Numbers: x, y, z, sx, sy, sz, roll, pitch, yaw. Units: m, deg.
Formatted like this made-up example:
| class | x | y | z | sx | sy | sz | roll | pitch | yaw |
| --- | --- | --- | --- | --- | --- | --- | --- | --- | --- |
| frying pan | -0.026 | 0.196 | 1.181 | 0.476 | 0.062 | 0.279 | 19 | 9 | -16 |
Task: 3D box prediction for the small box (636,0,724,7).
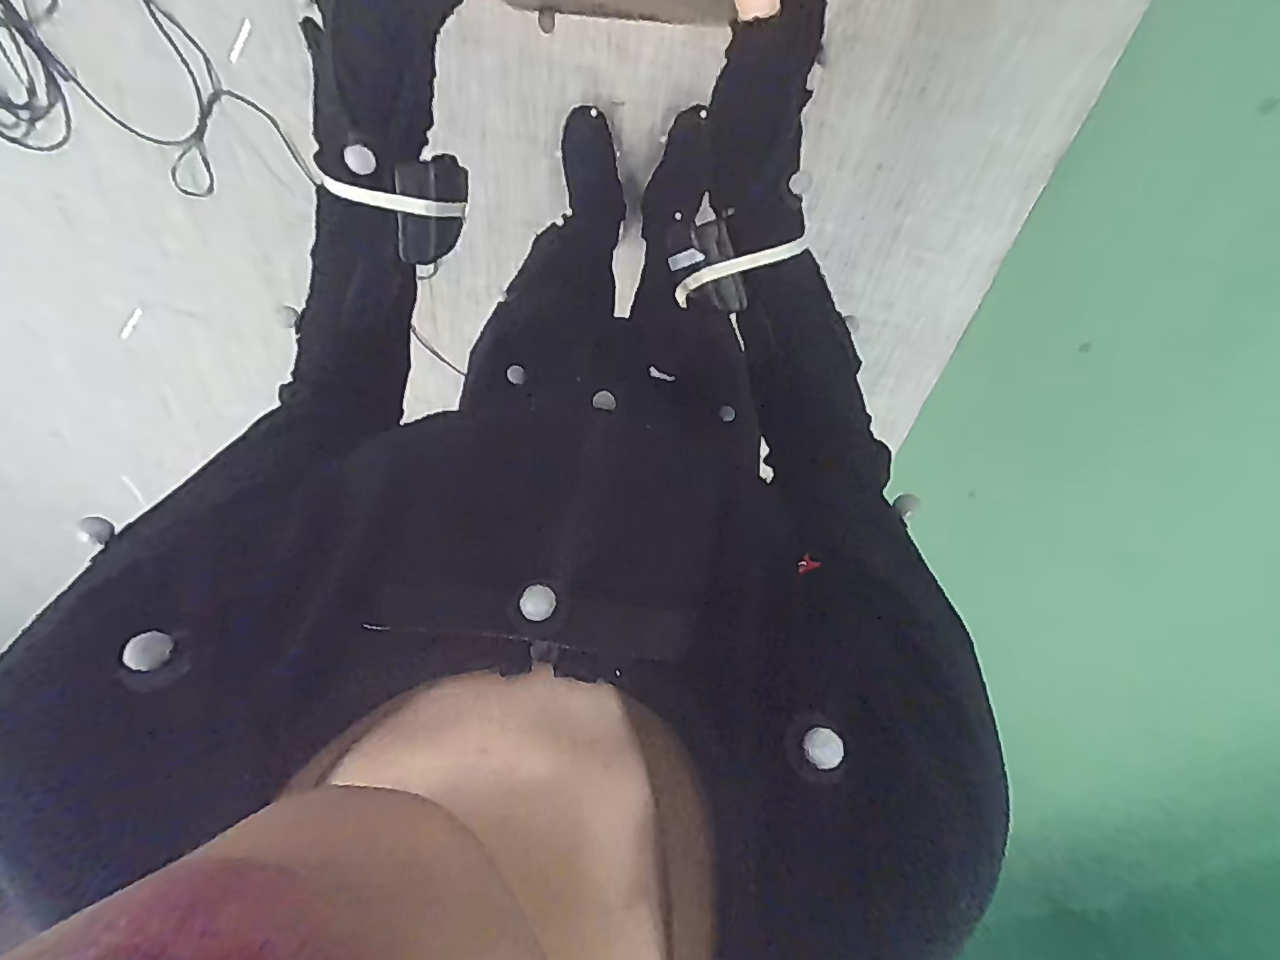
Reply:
| class | x | y | z | sx | sy | sz | roll | pitch | yaw |
| --- | --- | --- | --- | --- | --- | --- | --- | --- | --- |
| small box | -0.016 | -0.376 | 0.282 | 0.168 | 0.176 | 0.179 | 5 | 122 | 1 |
